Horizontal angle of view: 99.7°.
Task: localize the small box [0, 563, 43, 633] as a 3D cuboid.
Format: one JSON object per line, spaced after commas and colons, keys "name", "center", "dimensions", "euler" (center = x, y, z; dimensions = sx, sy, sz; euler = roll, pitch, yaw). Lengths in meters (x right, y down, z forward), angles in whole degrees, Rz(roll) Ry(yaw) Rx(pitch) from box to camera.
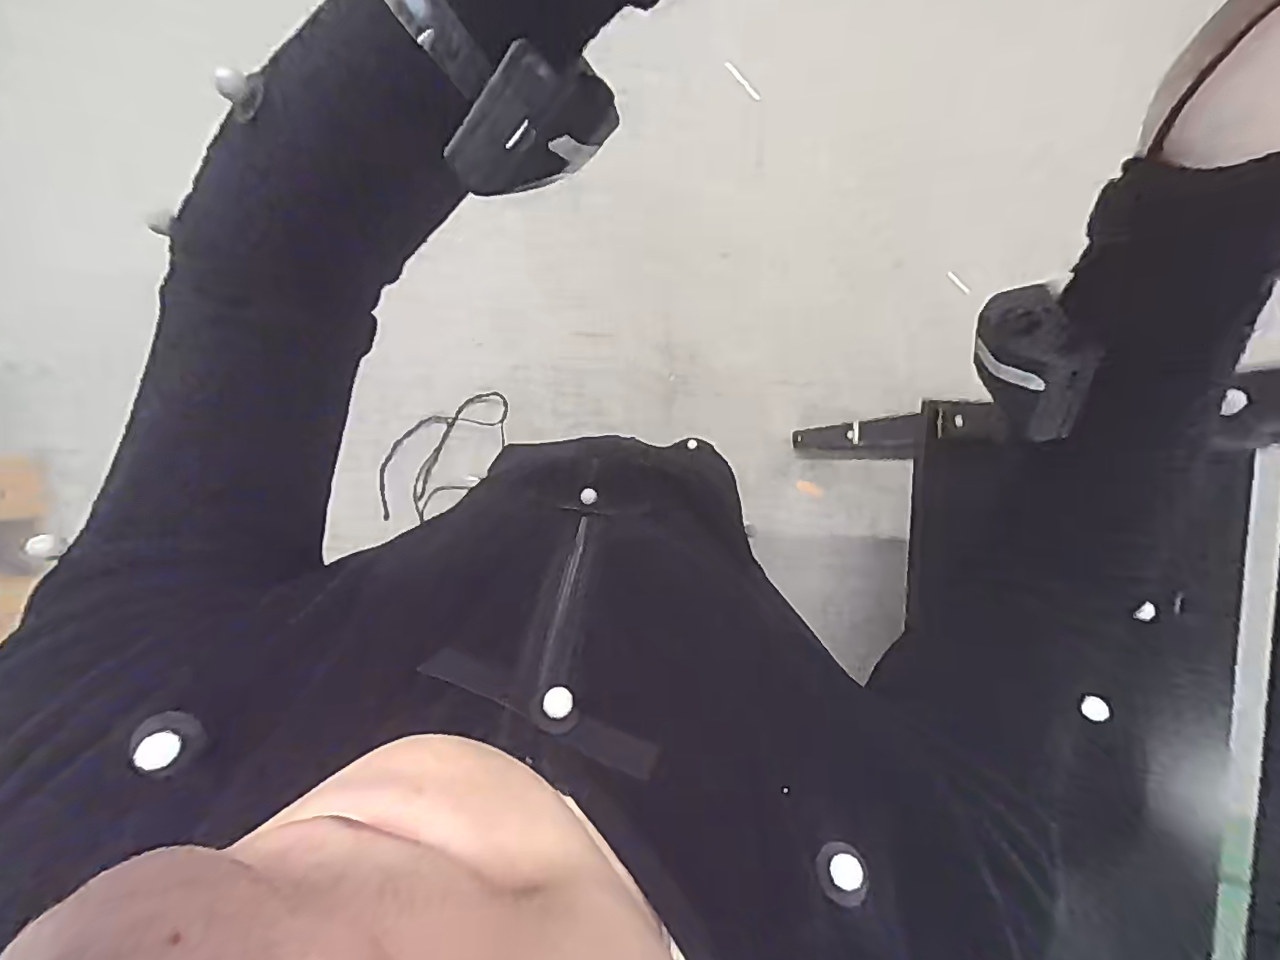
{"name": "small box", "center": [-1.820, 0.329, 1.490], "dimensions": [0.179, 0.176, 0.168], "euler": [8, 92, -2]}
